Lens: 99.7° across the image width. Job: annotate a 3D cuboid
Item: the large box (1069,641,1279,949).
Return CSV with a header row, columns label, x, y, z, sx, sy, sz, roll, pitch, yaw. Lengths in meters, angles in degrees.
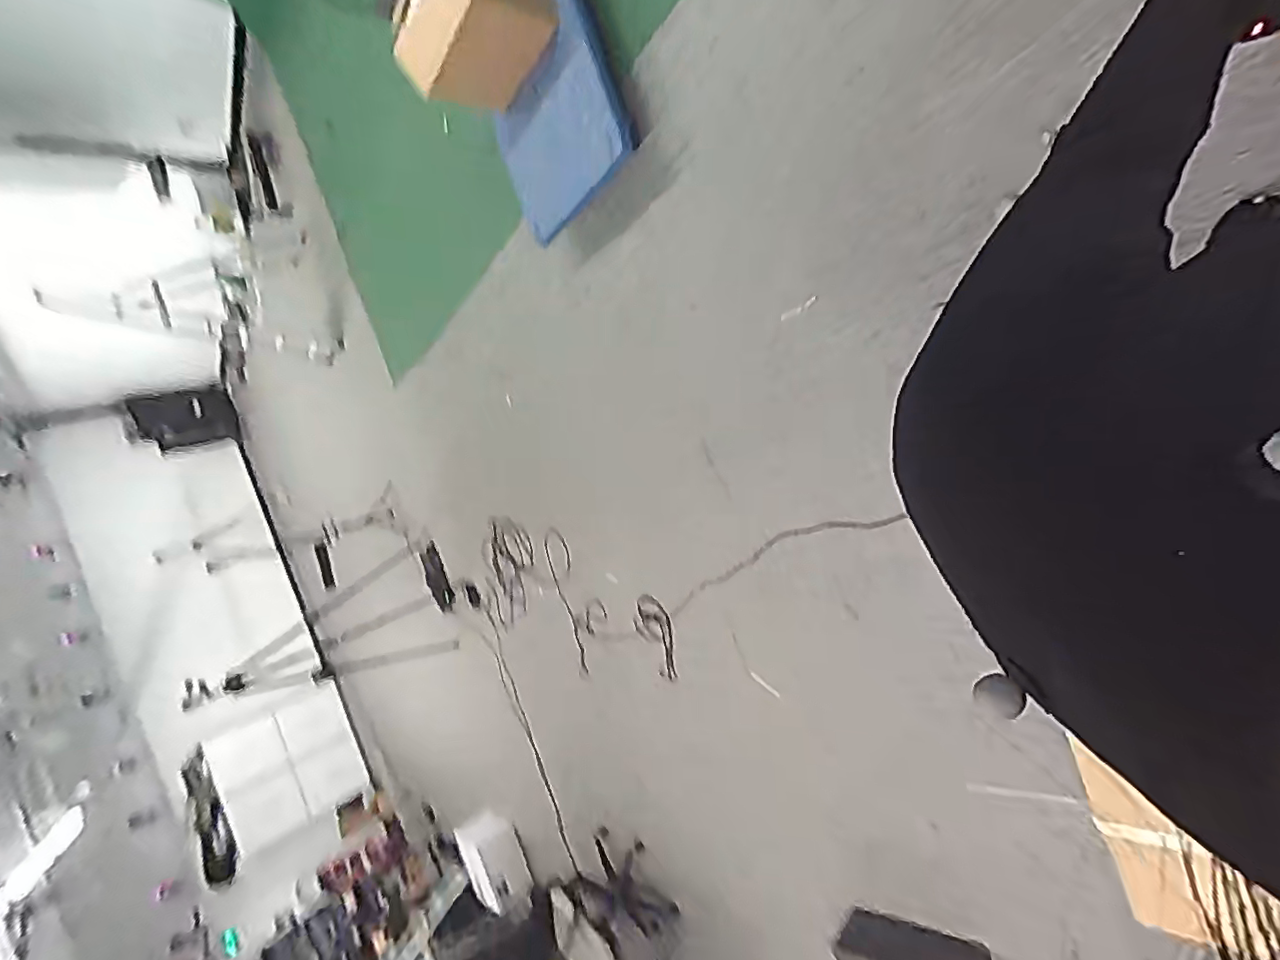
label,x,y,z,sx,sy,sz,roll,pitch,yaw
large box,0.940,0.433,0.779,0.408,0.320,0.320,-23,84,49
